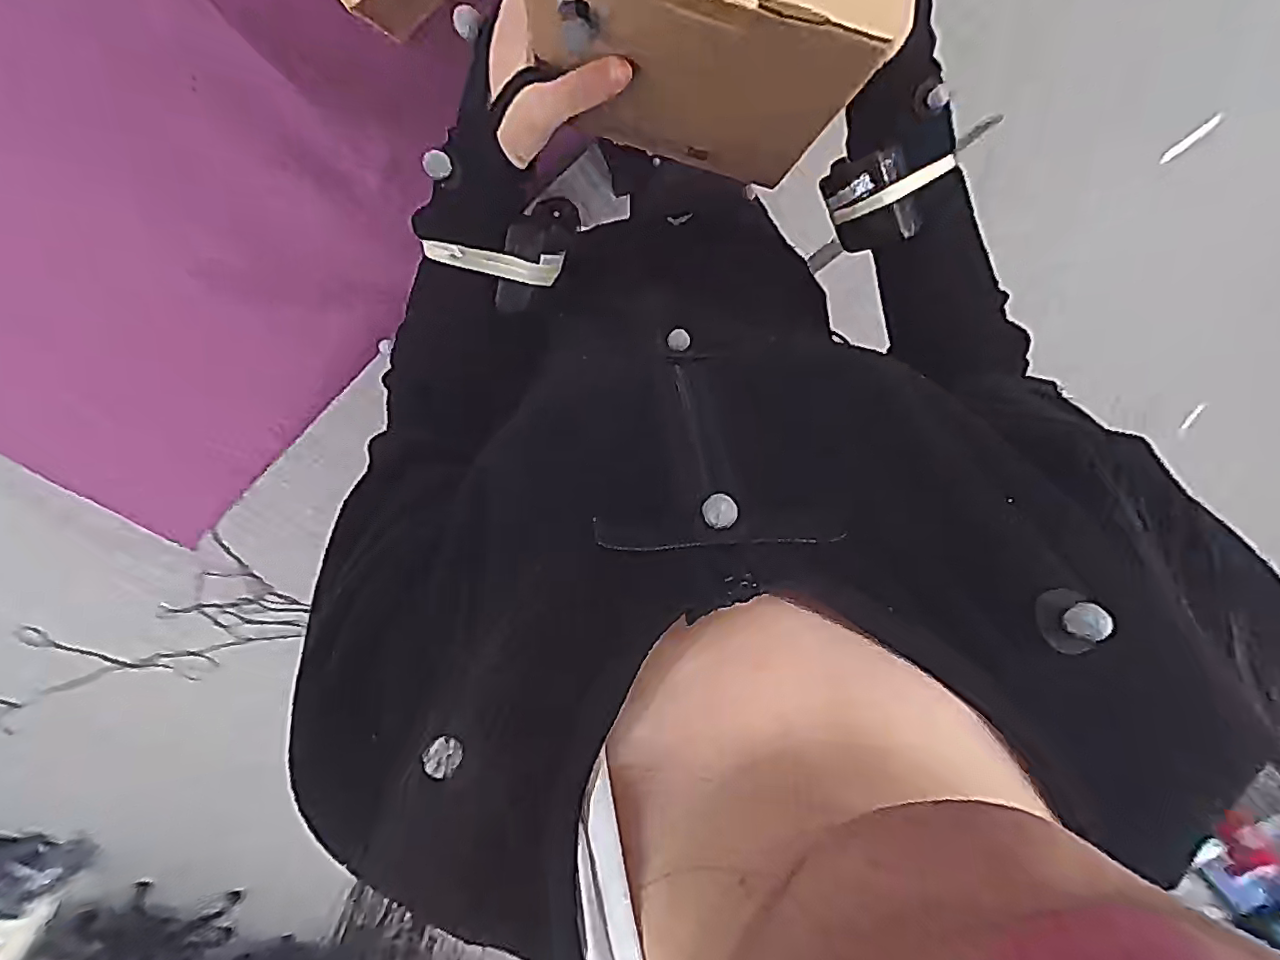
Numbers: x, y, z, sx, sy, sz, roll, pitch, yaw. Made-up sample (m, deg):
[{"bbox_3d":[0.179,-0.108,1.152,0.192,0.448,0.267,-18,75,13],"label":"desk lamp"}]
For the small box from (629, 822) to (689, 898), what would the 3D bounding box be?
[{"bbox_3d":[0.060,1.334,1.897,0.168,0.176,0.179,4,122,-13],"label":"small box"}]

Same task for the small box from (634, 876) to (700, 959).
[{"bbox_3d":[0.082,1.419,1.760,0.168,0.176,0.179,3,122,-13],"label":"small box"}]

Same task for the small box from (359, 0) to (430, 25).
[{"bbox_3d":[-0.189,-0.463,0.370,0.179,0.176,0.168,-36,123,12],"label":"small box"}]
